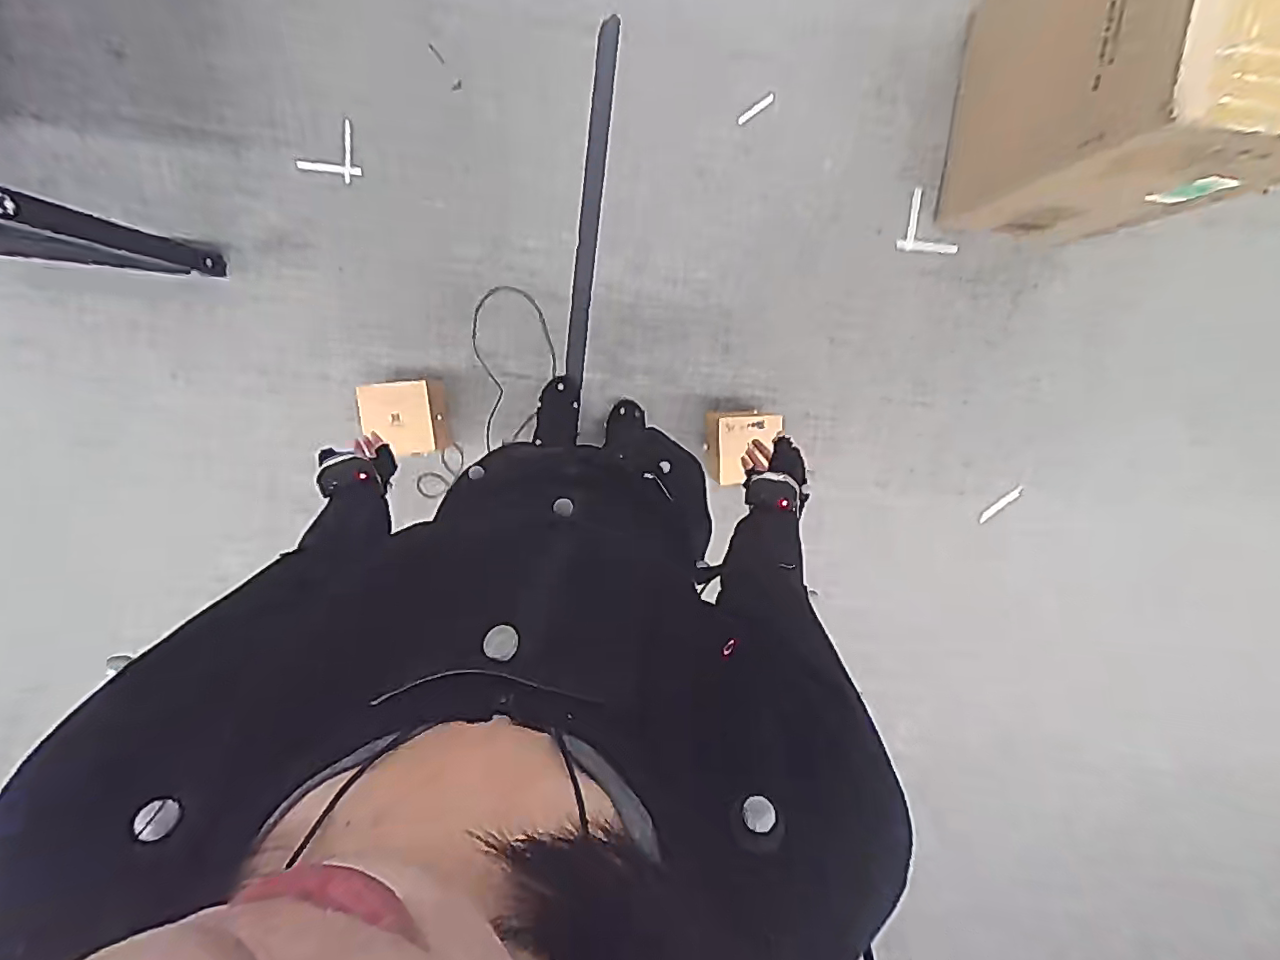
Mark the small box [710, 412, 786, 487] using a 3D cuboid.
[{"bbox_3d":[0.285,-0.085,1.450,0.168,0.176,0.179,-3,101,-3],"label":"small box"}]

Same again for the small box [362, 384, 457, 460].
[{"bbox_3d":[-0.578,-0.152,1.379,0.168,0.176,0.179,-6,98,-3],"label":"small box"}]
